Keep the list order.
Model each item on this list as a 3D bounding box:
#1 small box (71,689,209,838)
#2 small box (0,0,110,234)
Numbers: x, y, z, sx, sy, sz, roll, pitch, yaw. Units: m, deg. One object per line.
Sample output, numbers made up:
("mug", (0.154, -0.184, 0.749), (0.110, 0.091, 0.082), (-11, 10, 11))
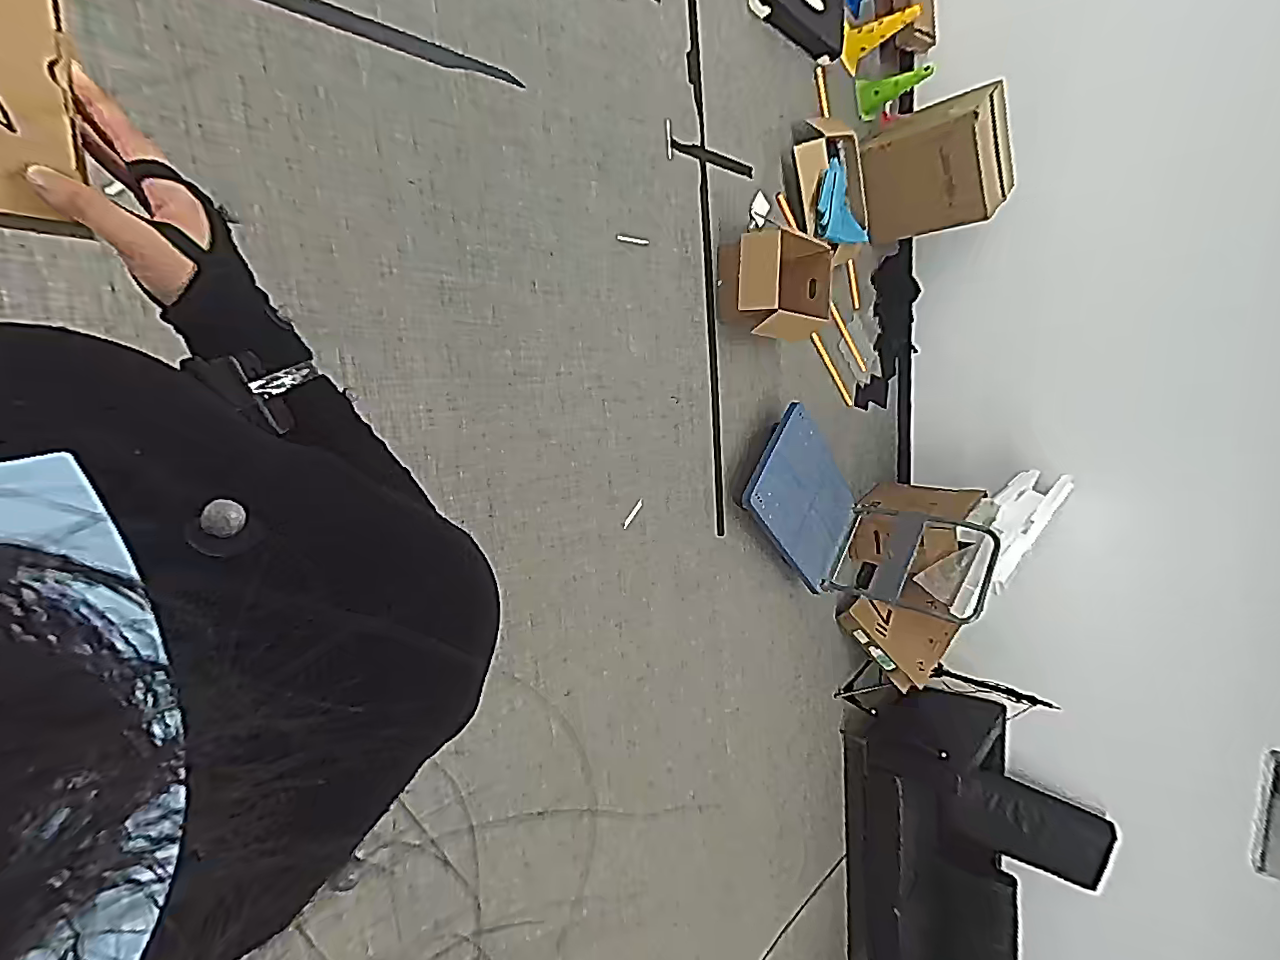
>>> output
("small box", (-1.009, 0.564, 1.102), (0.168, 0.176, 0.179), (-20, 107, -41))
("small box", (-0.441, -0.250, 0.315), (0.179, 0.176, 0.168), (-6, 110, -43))
